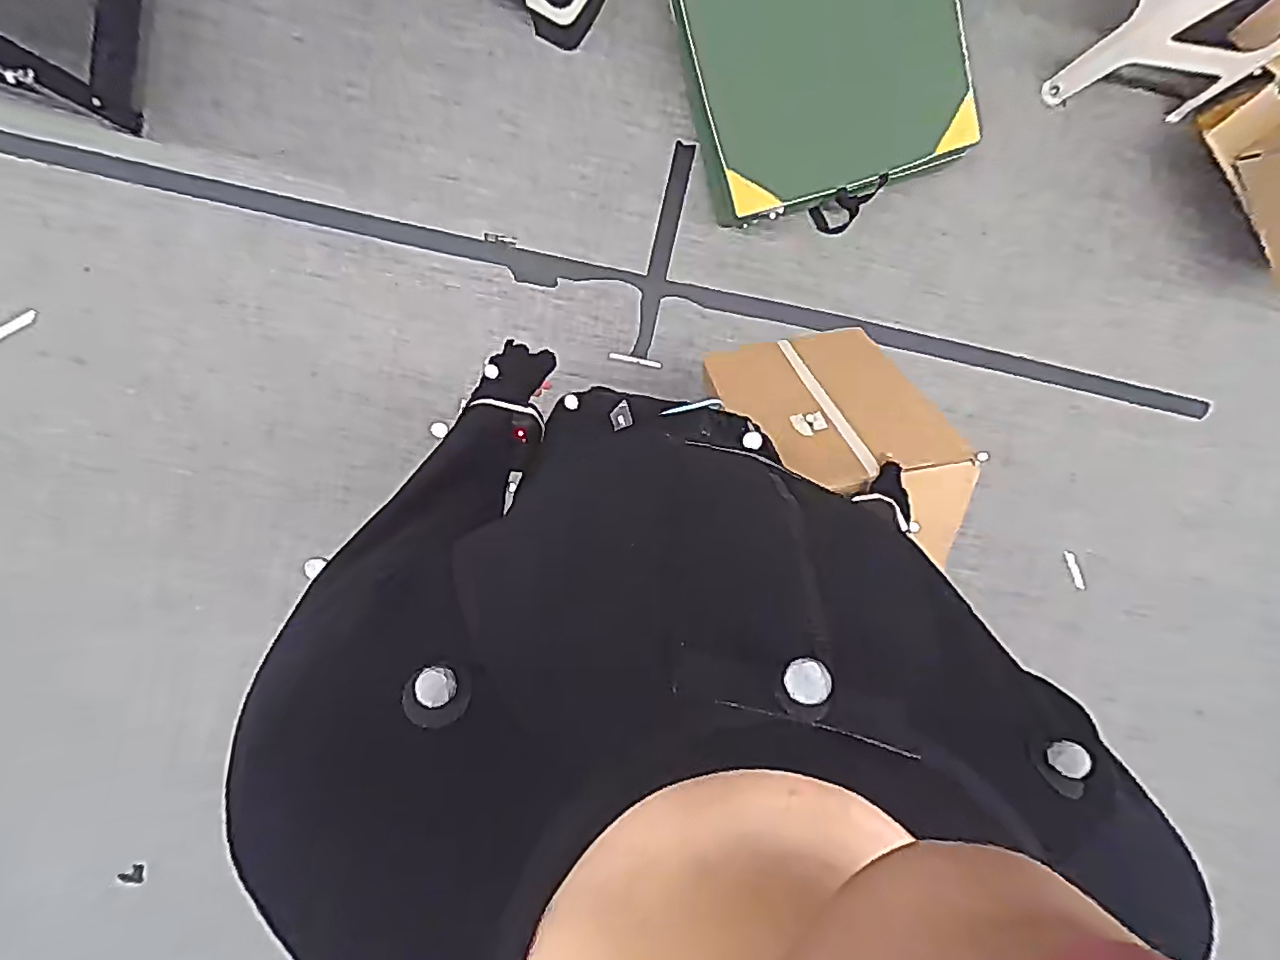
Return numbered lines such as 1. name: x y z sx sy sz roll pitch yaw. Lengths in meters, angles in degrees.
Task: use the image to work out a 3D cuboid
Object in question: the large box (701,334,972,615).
1. large box: 0.310 -0.021 1.006 0.320 0.408 0.320 -10 134 -1
